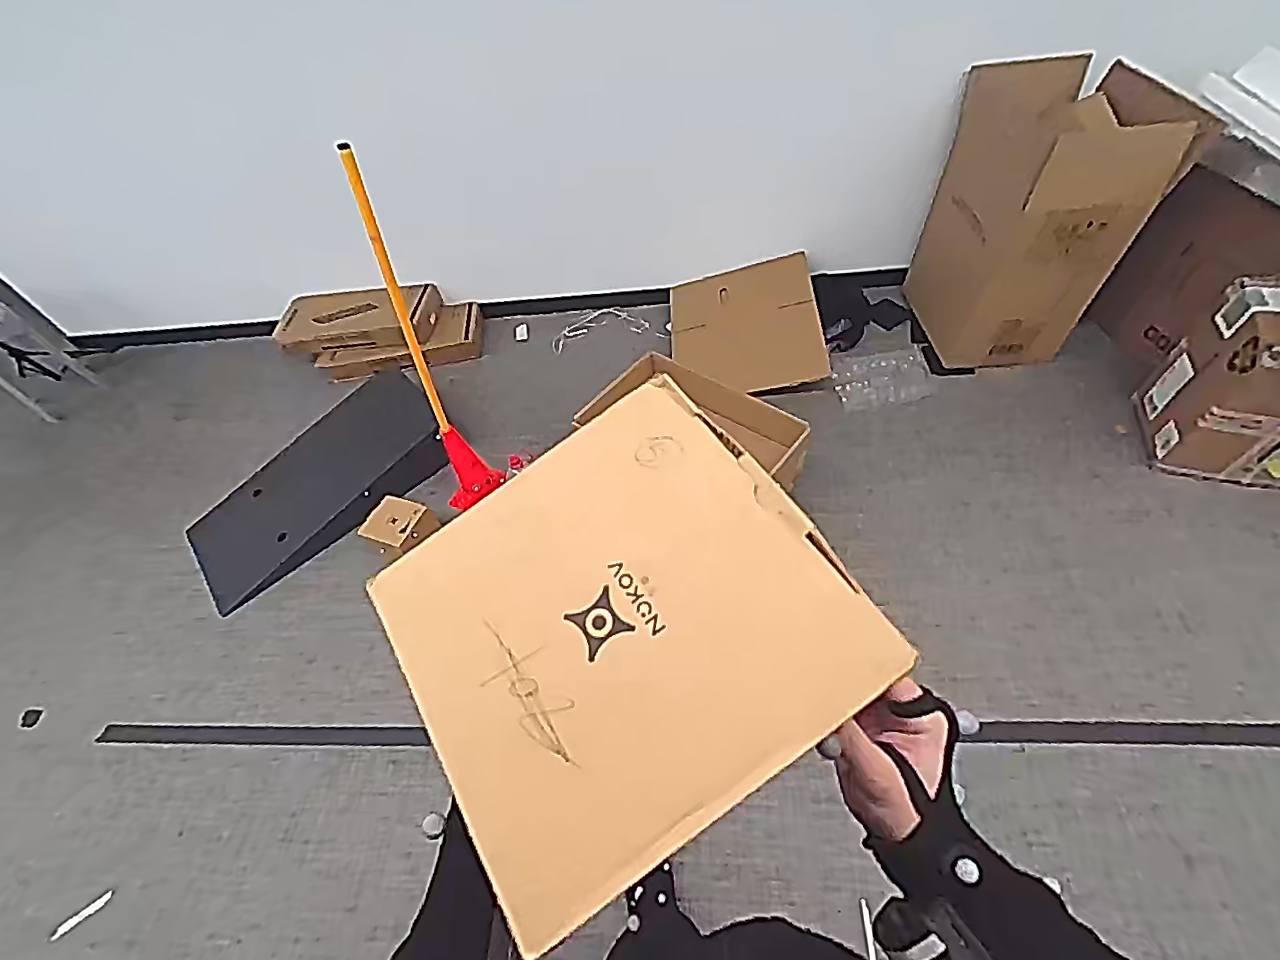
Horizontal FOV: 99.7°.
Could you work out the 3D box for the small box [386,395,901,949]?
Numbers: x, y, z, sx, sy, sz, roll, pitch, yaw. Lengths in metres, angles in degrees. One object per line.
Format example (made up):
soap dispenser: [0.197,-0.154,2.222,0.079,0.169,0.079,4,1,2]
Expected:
small box: [0.006,0.092,0.307,0.179,0.176,0.168,-38,64,-2]
